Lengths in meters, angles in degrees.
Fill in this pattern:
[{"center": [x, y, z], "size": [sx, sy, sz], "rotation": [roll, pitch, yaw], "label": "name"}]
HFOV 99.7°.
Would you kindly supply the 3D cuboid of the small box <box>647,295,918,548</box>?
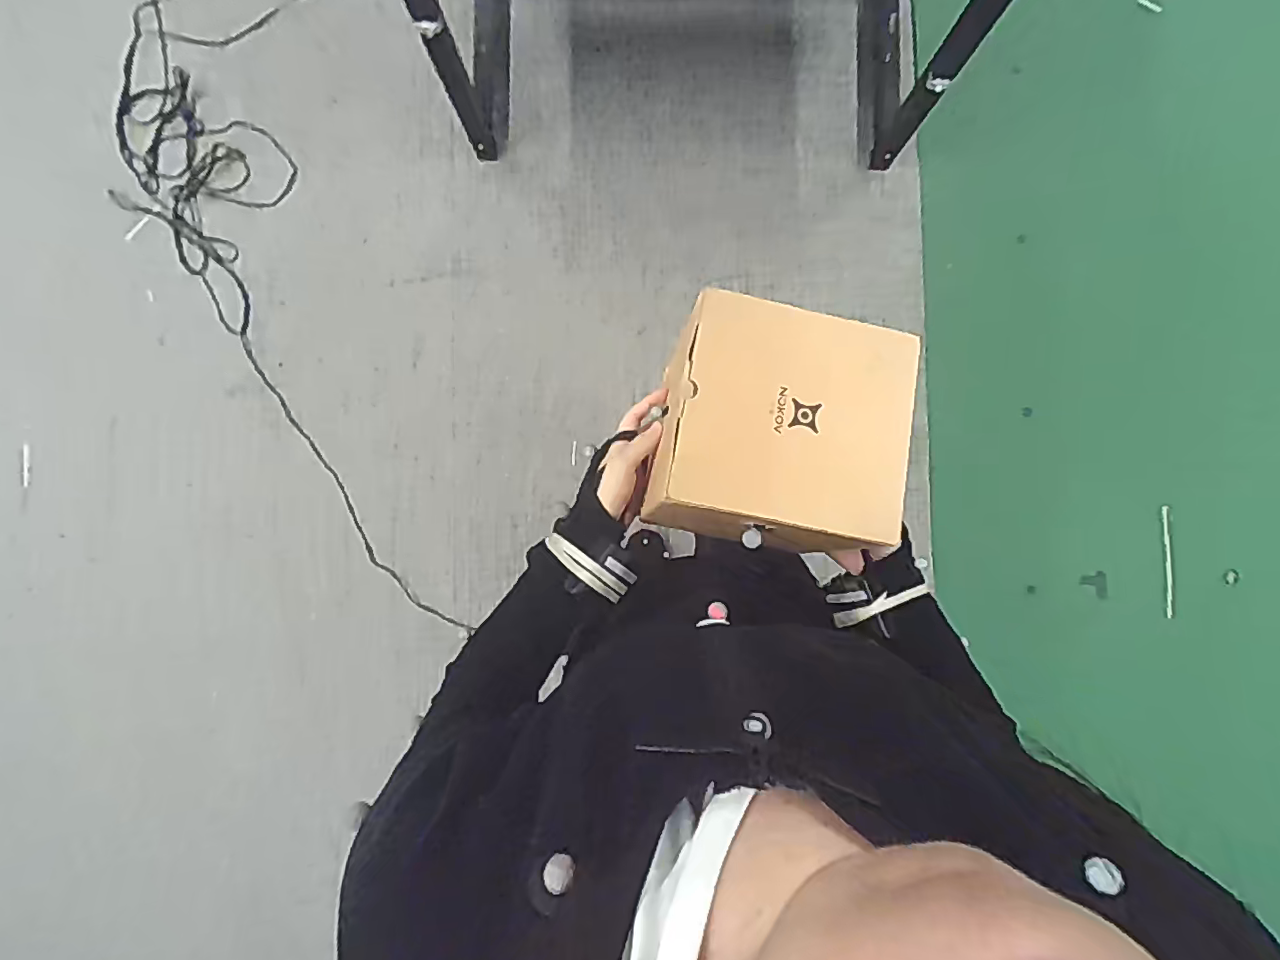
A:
[{"center": [0.112, -0.034, 0.485], "size": [0.179, 0.176, 0.168], "rotation": [12, 79, -3], "label": "small box"}]
